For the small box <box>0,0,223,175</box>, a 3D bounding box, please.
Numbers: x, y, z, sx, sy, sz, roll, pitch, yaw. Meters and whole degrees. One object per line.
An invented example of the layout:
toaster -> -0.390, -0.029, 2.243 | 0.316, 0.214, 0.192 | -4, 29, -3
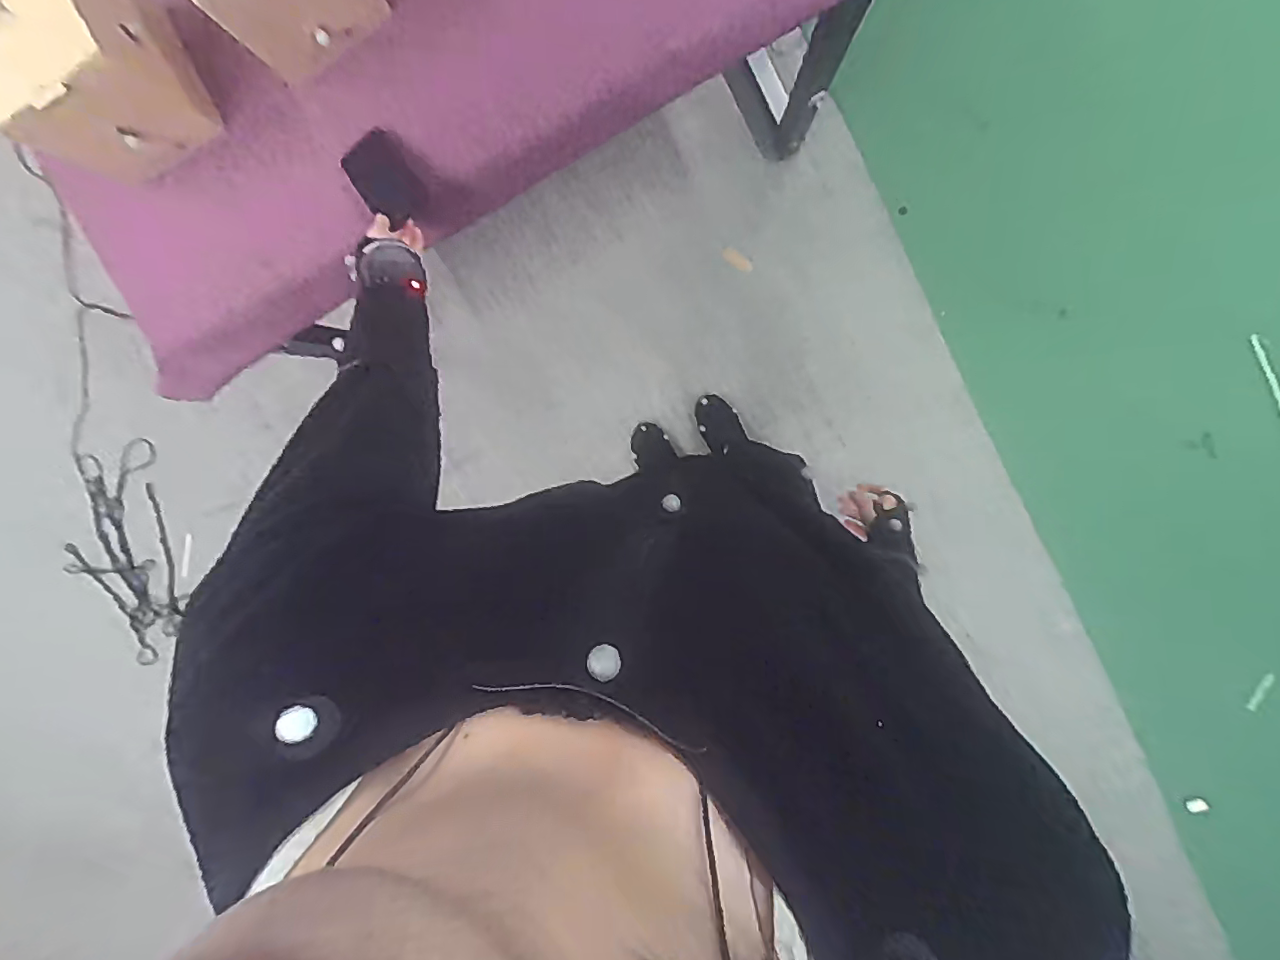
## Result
small box -> -0.675, -0.508, 0.663 | 0.168, 0.176, 0.179 | -25, 96, 7

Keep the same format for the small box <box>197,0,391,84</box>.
small box -> -0.436, -0.625, 0.630 | 0.168, 0.176, 0.179 | -30, 96, 8
